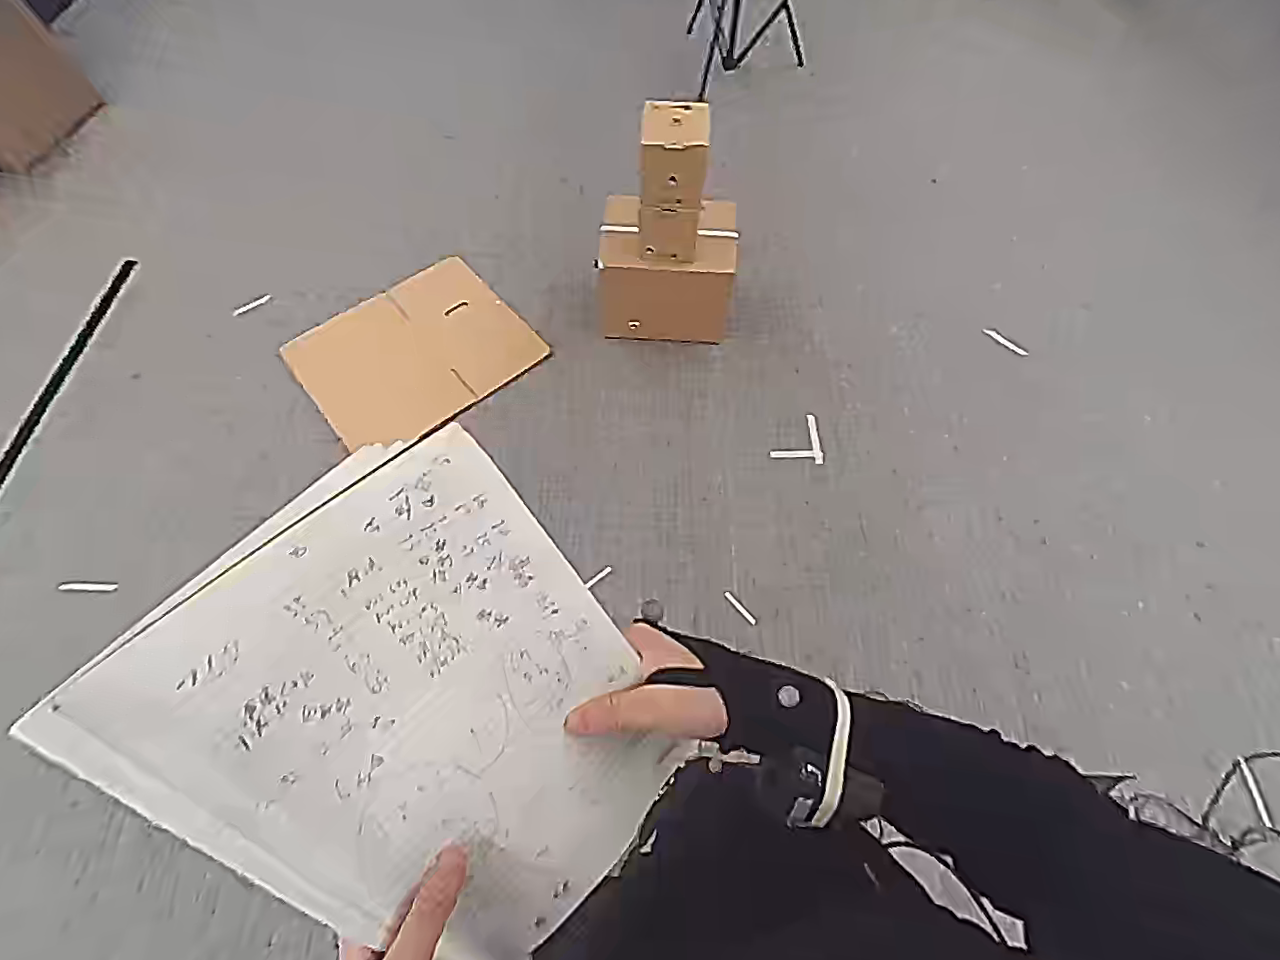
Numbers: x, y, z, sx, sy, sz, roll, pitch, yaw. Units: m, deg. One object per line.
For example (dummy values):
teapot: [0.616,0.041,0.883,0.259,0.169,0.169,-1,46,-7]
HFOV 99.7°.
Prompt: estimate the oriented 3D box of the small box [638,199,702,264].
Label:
small box: [0.088,-0.738,1.528,0.168,0.176,0.179,6,64,4]

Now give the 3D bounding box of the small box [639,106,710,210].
small box: [0.087,-0.819,1.385,0.168,0.176,0.179,4,65,2]
